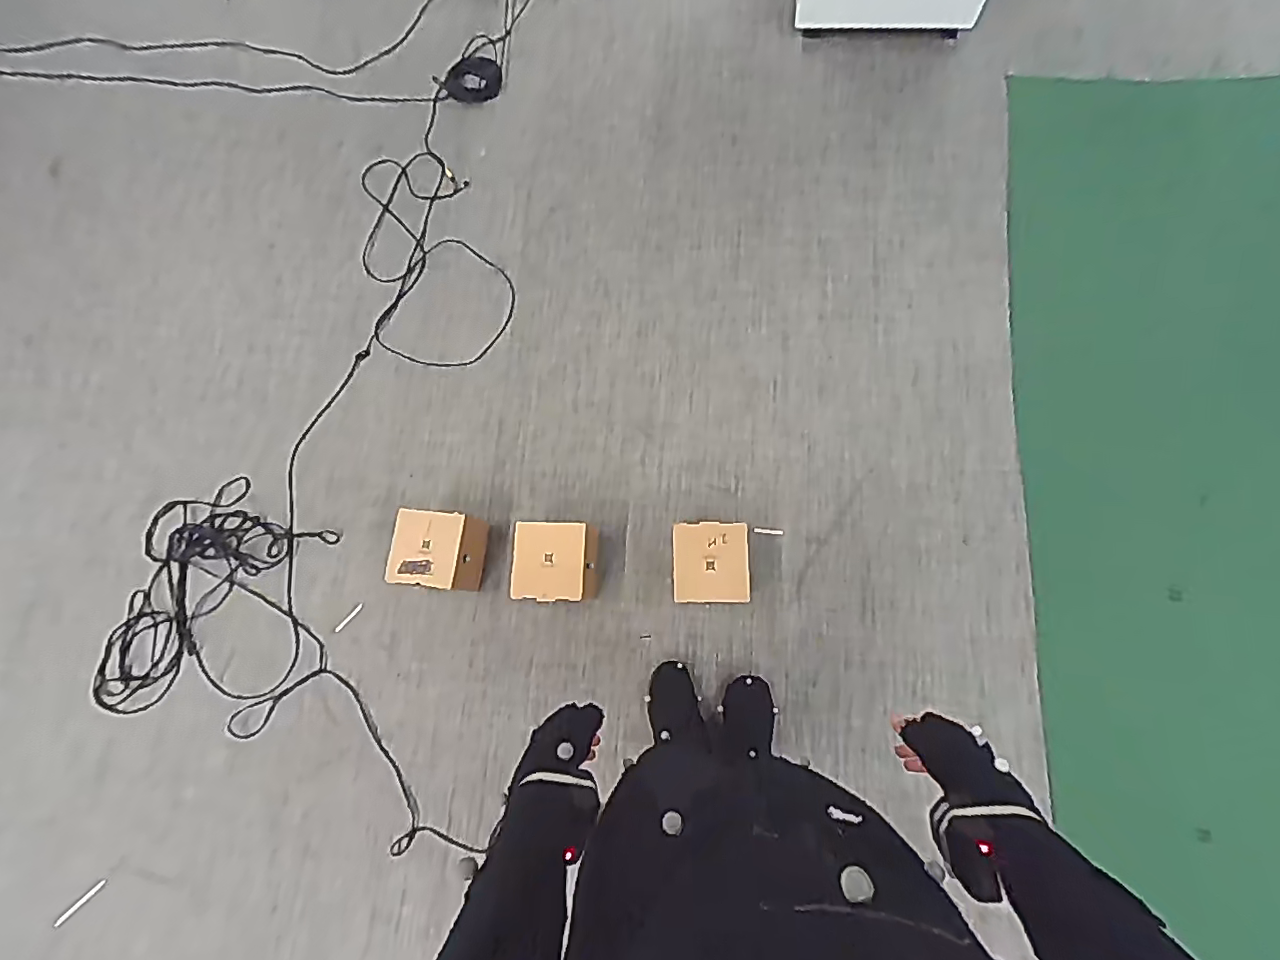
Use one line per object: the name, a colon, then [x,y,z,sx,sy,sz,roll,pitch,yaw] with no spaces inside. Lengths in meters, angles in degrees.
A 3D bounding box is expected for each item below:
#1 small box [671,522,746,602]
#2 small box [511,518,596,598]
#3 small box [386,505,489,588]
small box: [0.158,0.194,1.272,0.168,0.176,0.179,-1,78,4]
small box: [-0.201,0.193,1.304,0.168,0.176,0.179,1,78,5]
small box: [-0.489,0.169,1.332,0.168,0.176,0.179,6,77,6]
